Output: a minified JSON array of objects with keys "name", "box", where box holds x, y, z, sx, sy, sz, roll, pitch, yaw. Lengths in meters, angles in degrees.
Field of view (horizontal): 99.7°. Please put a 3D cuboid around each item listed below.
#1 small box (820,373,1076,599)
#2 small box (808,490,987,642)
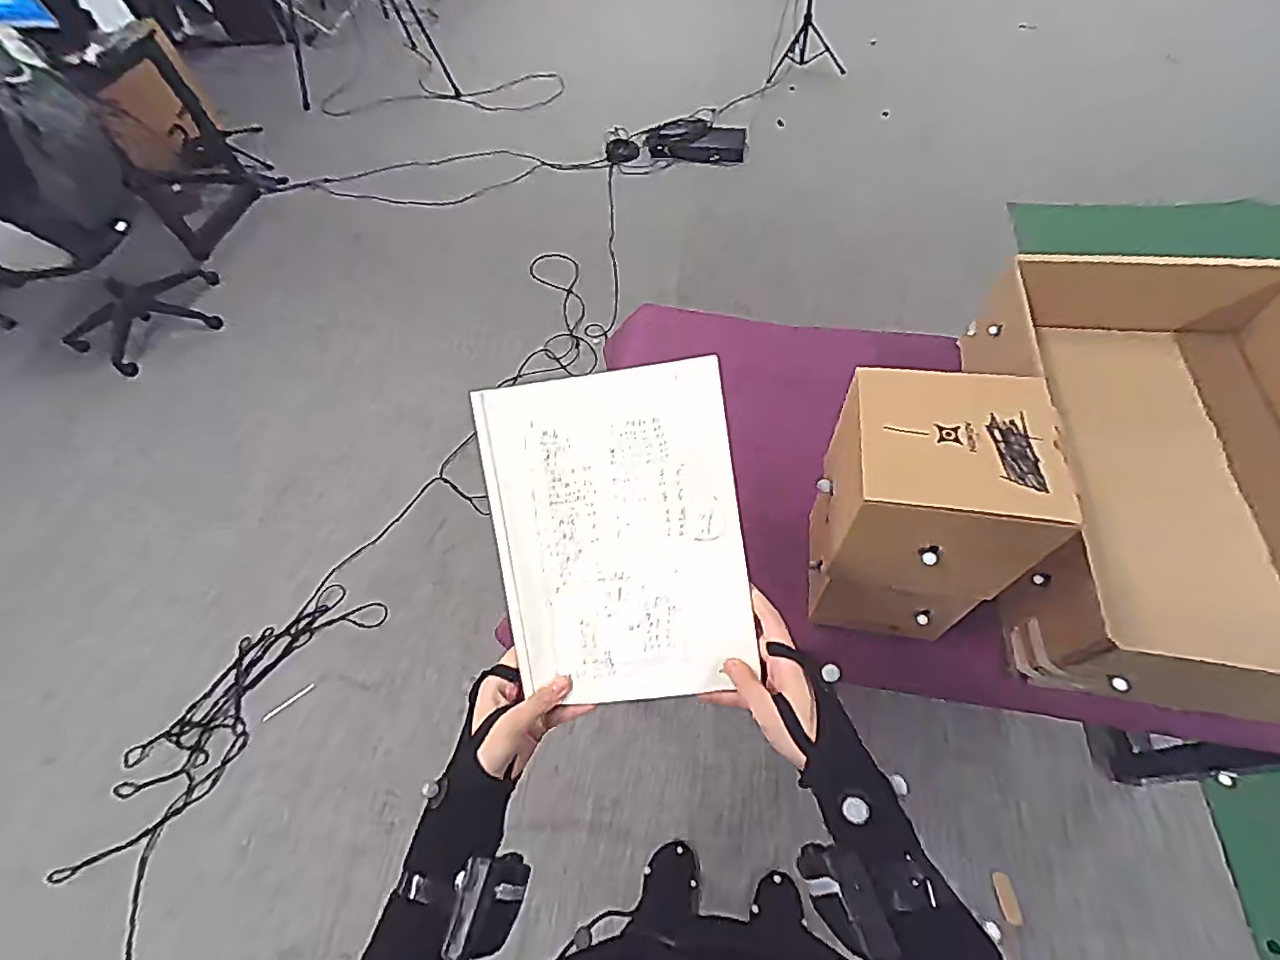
[{"name":"small box","box":[0.297,0.012,0.566,0.179,0.176,0.168,6,56,10]},{"name":"small box","box":[0.319,0.096,0.706,0.168,0.176,0.179,7,56,10]}]
